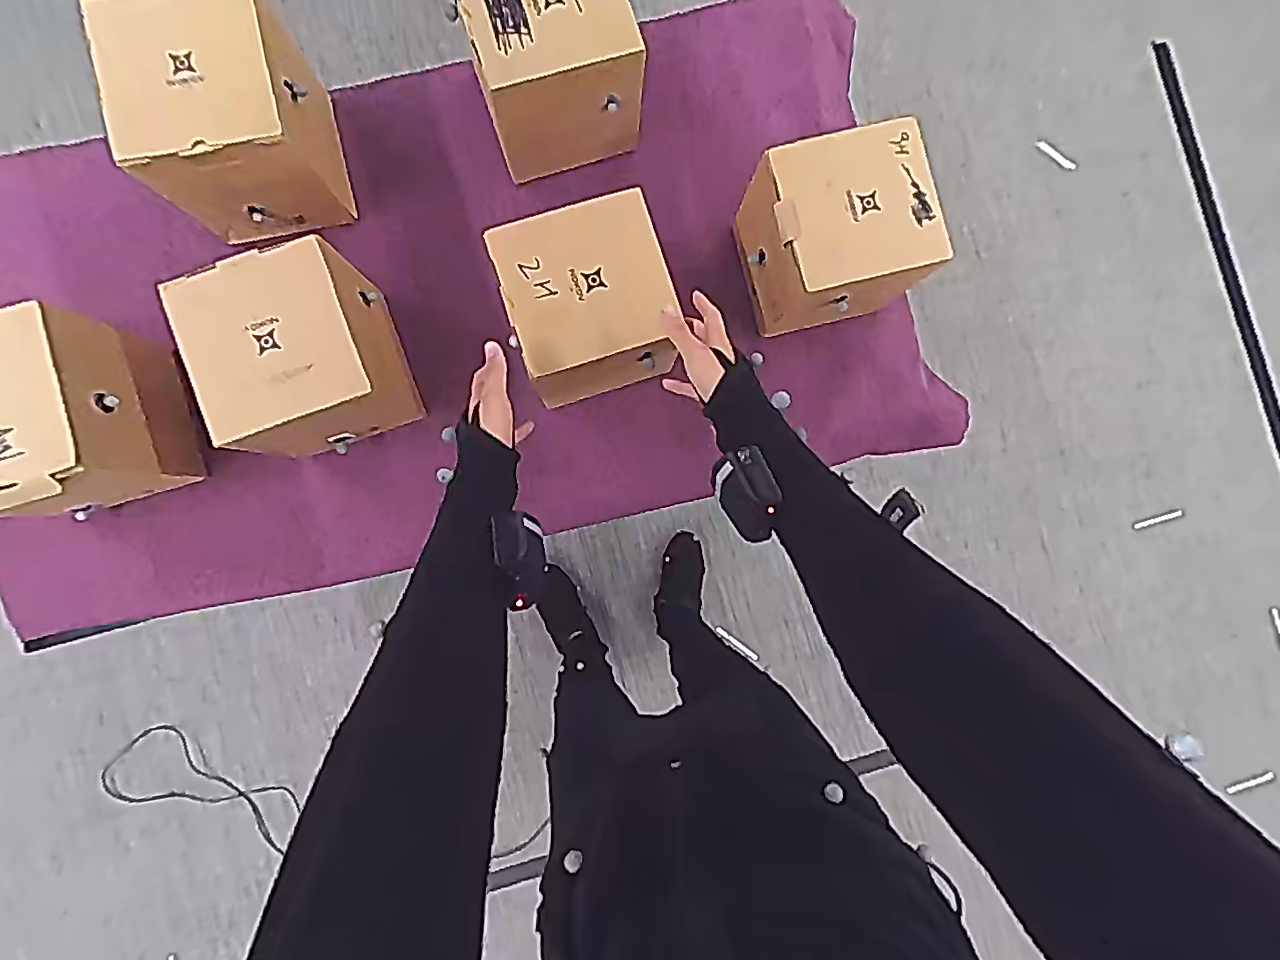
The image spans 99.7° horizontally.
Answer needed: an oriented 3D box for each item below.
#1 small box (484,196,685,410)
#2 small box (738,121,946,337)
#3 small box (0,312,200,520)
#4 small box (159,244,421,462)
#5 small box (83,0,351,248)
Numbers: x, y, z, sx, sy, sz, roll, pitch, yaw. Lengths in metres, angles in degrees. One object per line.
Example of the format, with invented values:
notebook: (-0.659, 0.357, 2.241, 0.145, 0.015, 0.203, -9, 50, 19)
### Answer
small box: (-0.063, -0.196, 0.645, 0.179, 0.176, 0.168, -18, 88, -4)
small box: (0.229, -0.292, 0.667, 0.179, 0.176, 0.168, -14, 89, -3)
small box: (-0.645, -0.057, 0.603, 0.168, 0.176, 0.179, -18, 87, -4)
small box: (-0.382, -0.132, 0.624, 0.168, 0.176, 0.179, -21, 89, -3)
small box: (-0.467, -0.401, 0.626, 0.168, 0.176, 0.179, -13, 89, -5)
